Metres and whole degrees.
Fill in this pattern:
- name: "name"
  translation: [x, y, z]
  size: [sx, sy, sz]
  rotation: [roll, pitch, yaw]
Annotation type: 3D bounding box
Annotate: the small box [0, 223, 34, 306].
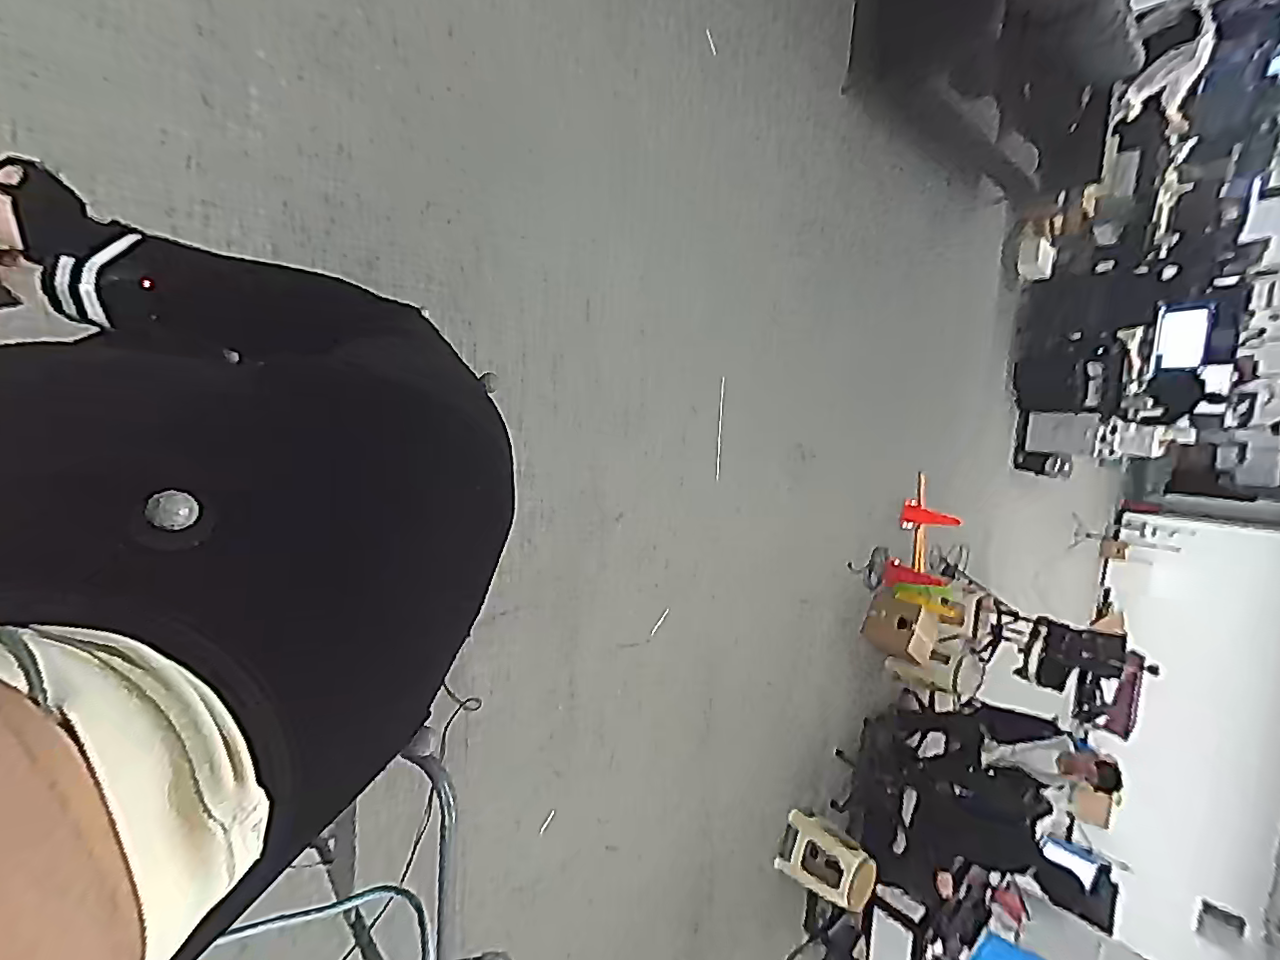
- name: "small box"
  translation: [-0.682, -0.241, 0.460]
  size: [0.168, 0.176, 0.179]
  rotation: [-28, 109, -37]
